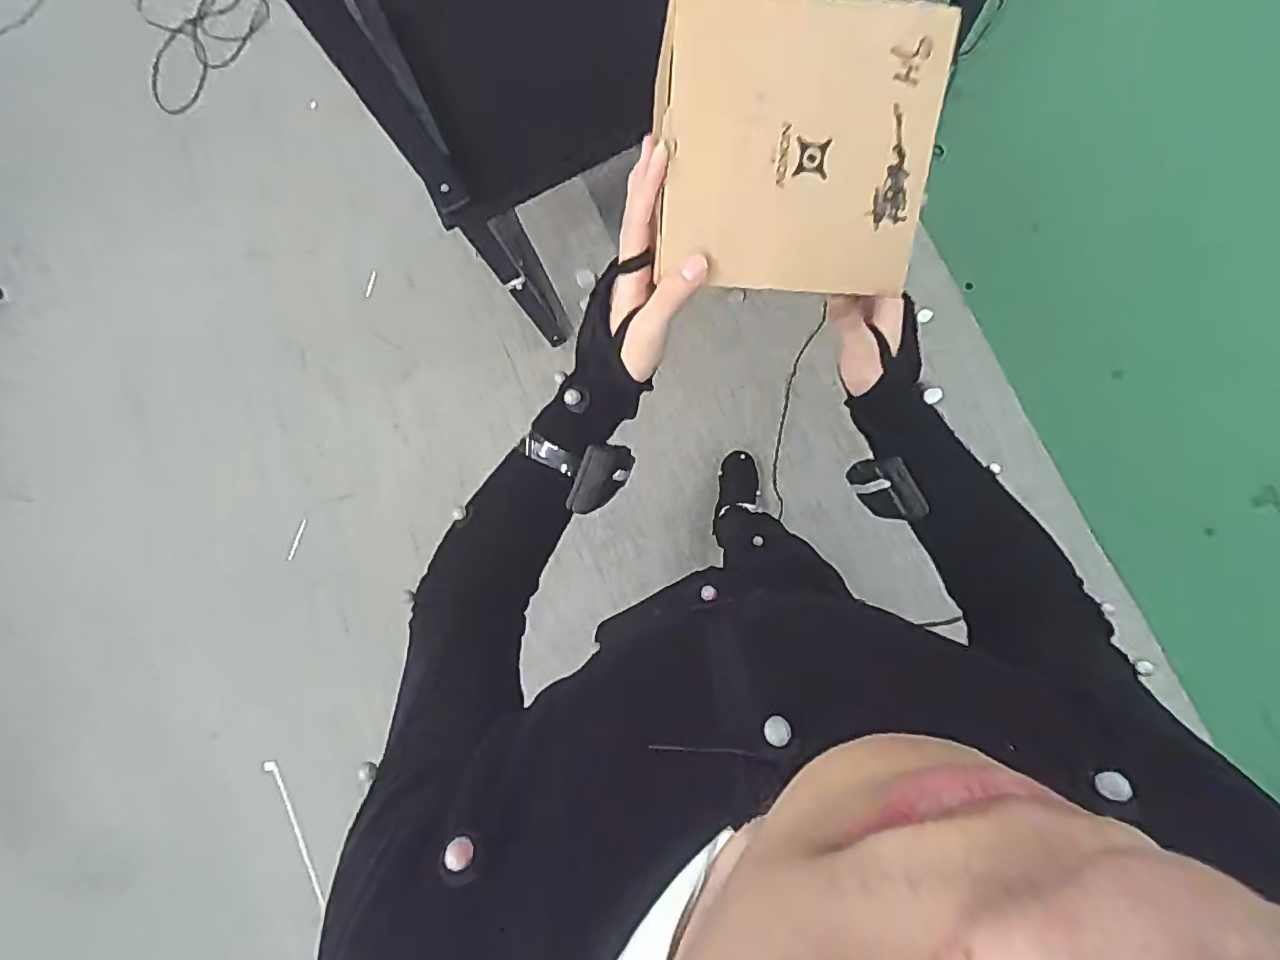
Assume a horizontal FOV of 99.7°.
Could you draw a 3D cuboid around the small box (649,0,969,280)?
[{"bbox_3d":[0.100,-0.246,0.414,0.179,0.176,0.168,3,111,-3],"label":"small box"}]
